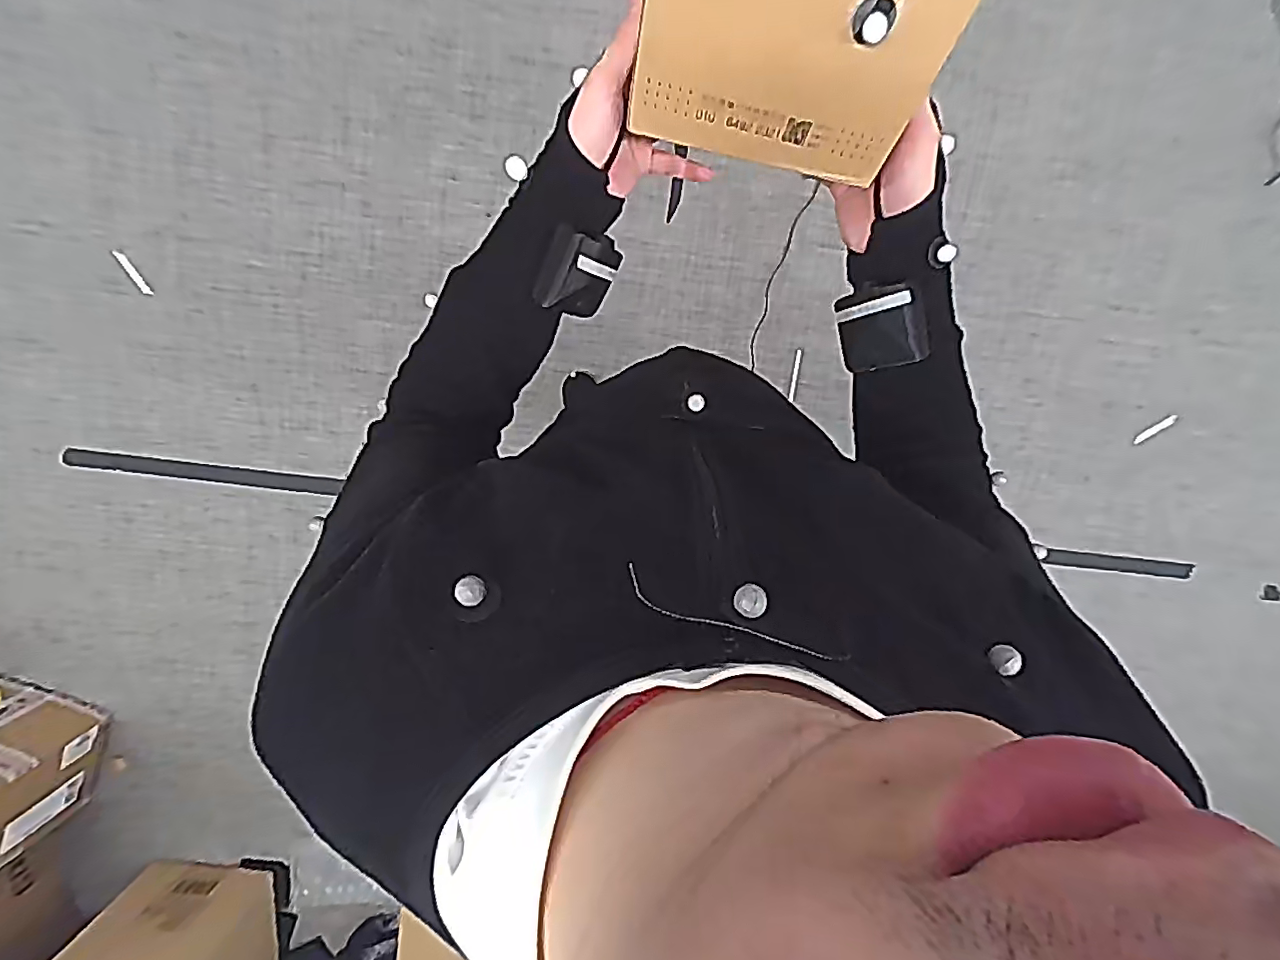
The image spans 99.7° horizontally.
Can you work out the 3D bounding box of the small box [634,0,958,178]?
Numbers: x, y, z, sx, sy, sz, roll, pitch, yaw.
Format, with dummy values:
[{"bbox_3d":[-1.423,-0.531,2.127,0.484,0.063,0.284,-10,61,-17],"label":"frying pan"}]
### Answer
[{"bbox_3d":[0.095,-0.323,0.326,0.168,0.176,0.179,11,64,-6],"label":"small box"}]
